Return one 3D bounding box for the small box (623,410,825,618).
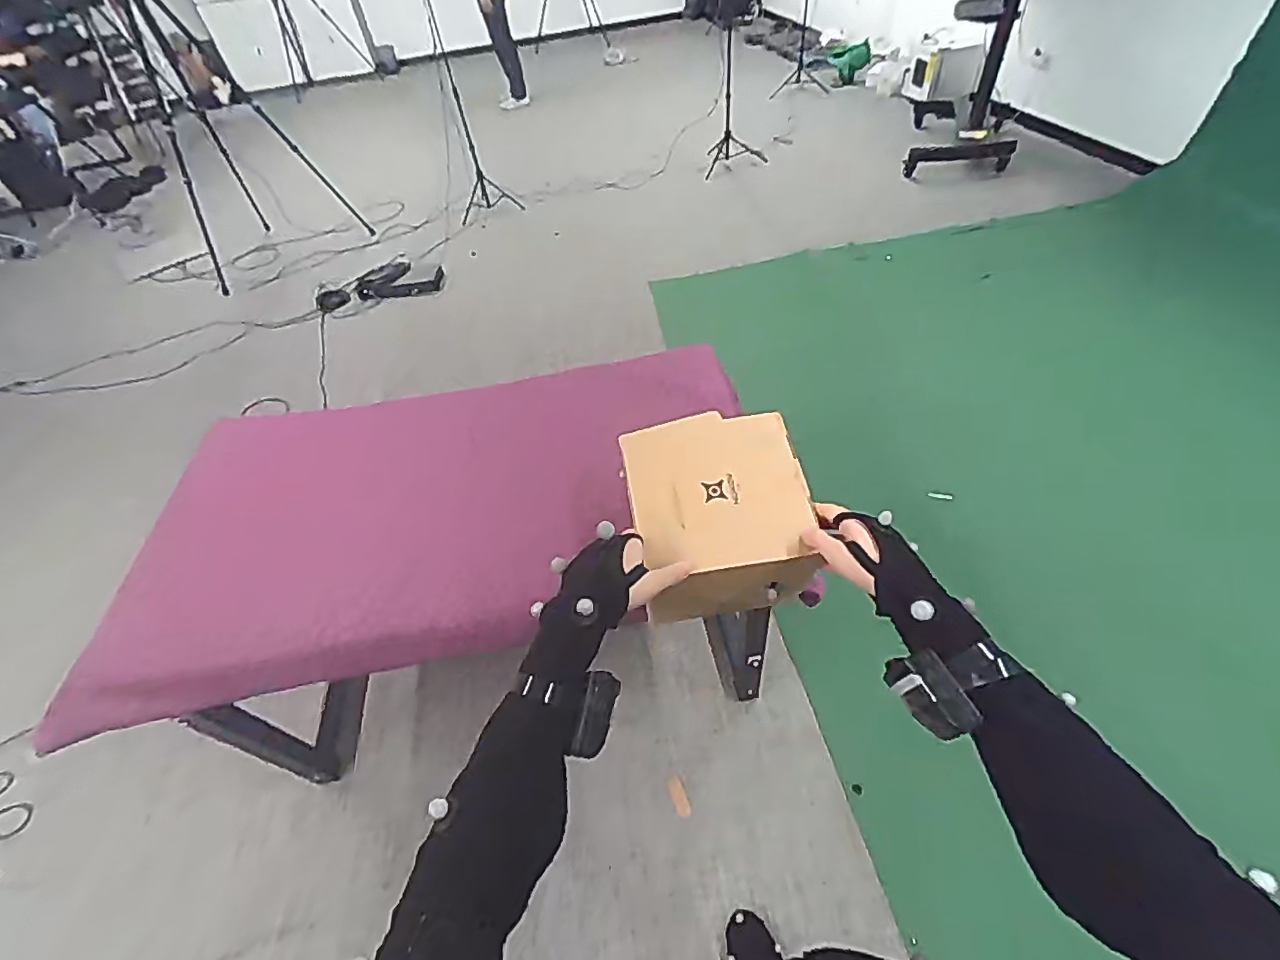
[{"bbox_3d":[0.079,0.045,0.604,0.179,0.176,0.168,-8,61,-2],"label":"small box"}]
